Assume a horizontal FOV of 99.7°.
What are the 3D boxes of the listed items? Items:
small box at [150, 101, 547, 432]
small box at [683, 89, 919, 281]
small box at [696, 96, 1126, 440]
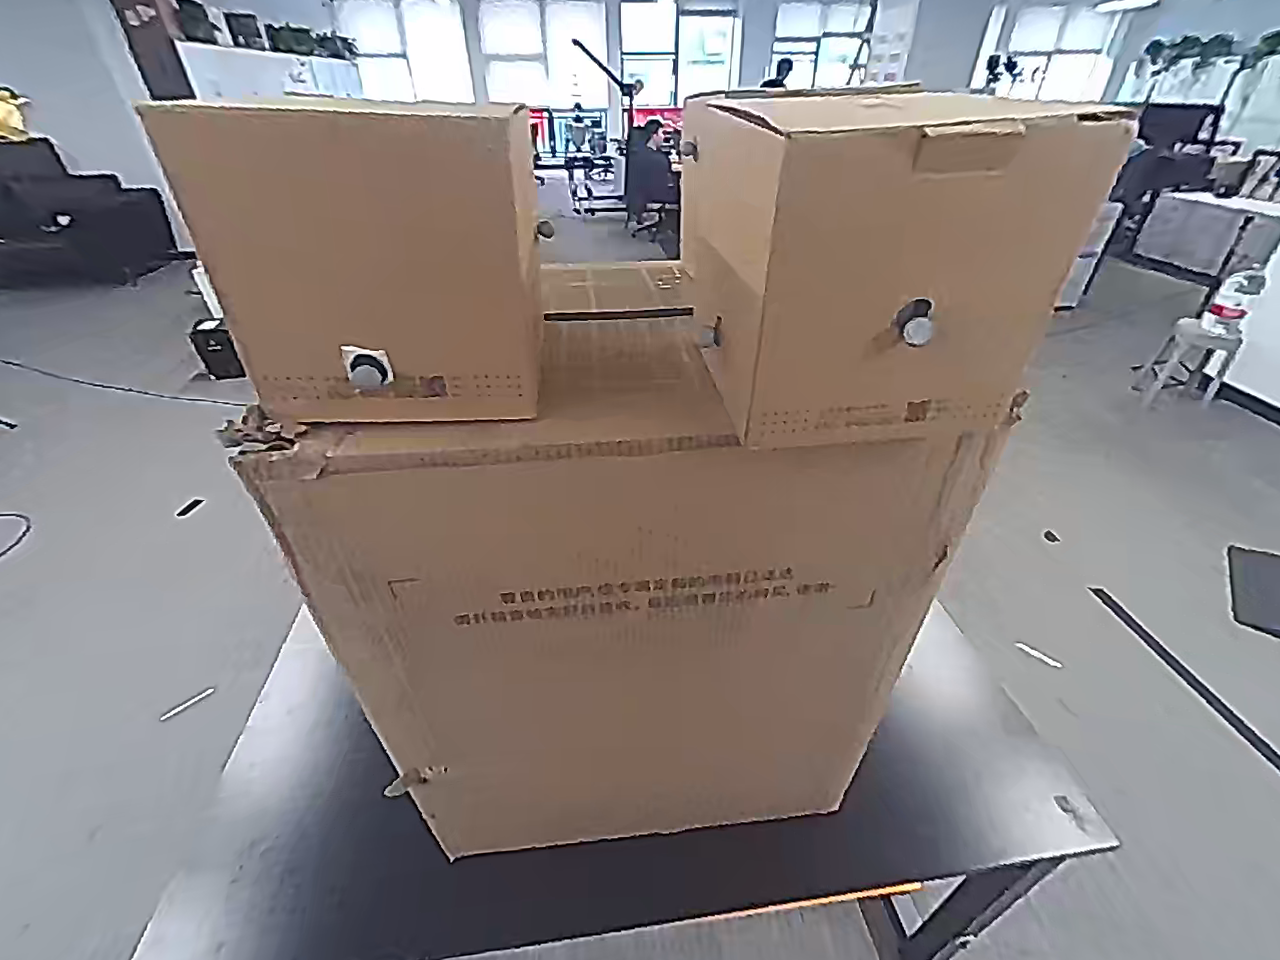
[{"bbox_3d":[-0.154,-0.147,0.365,0.168,0.176,0.179,-3,37,-6],"label":"small box"},{"bbox_3d":[0.137,-0.282,0.542,0.168,0.176,0.179,-6,33,-5],"label":"small box"},{"bbox_3d":[0.133,-0.137,0.352,0.168,0.176,0.179,-5,39,-4],"label":"small box"}]
